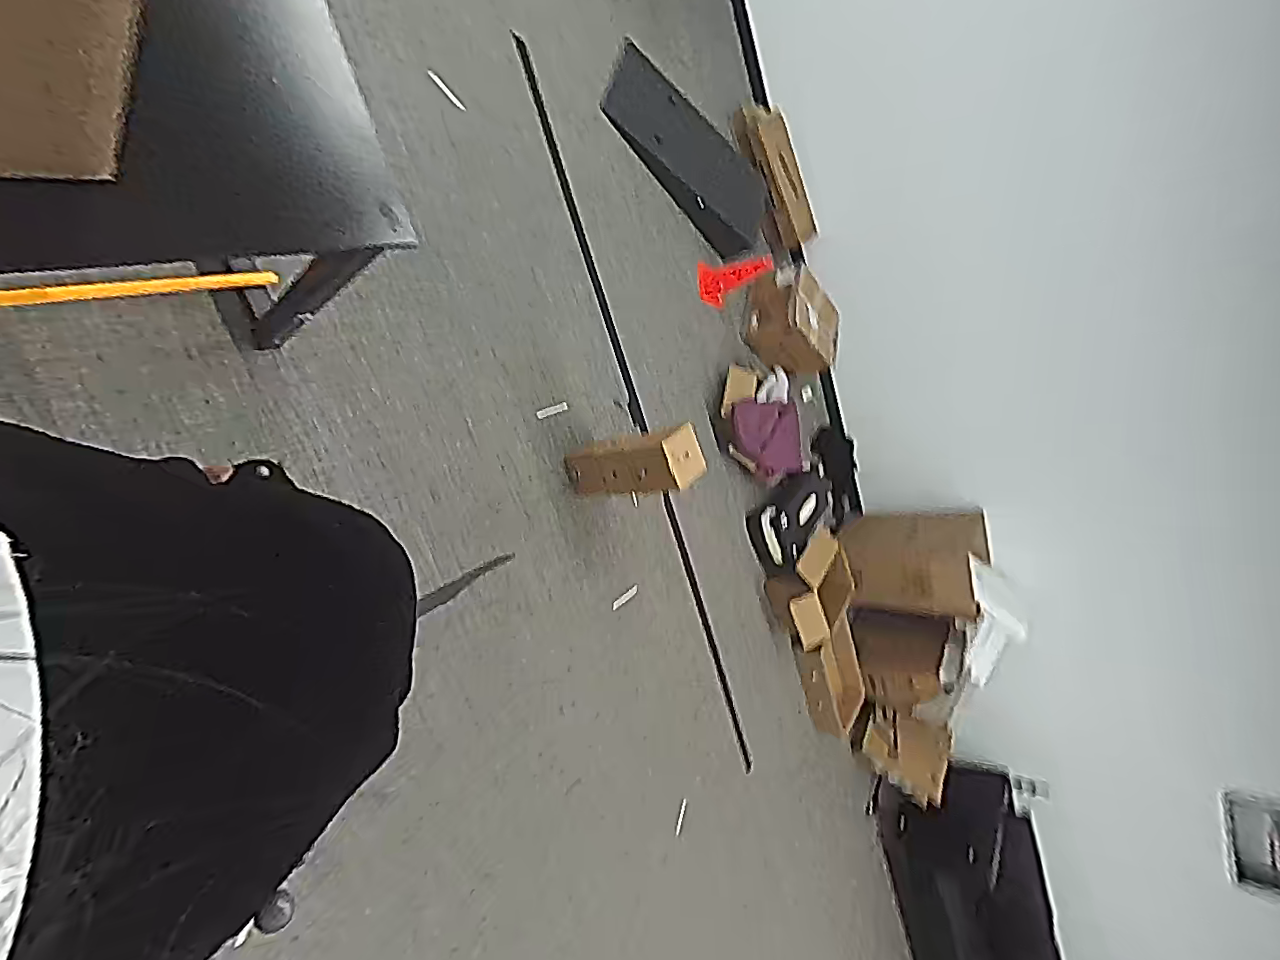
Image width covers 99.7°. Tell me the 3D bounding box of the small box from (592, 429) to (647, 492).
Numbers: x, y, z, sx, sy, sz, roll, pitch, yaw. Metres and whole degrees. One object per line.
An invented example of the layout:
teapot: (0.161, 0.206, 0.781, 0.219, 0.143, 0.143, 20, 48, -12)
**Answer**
small box: (-0.049, -0.066, 1.901, 0.179, 0.176, 0.168, -32, 108, -44)

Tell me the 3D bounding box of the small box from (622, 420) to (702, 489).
small box: (0.072, -0.082, 1.789, 0.179, 0.176, 0.168, -39, 112, -43)

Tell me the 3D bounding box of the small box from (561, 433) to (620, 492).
small box: (-0.161, -0.063, 2.022, 0.179, 0.176, 0.168, -33, 109, -44)
